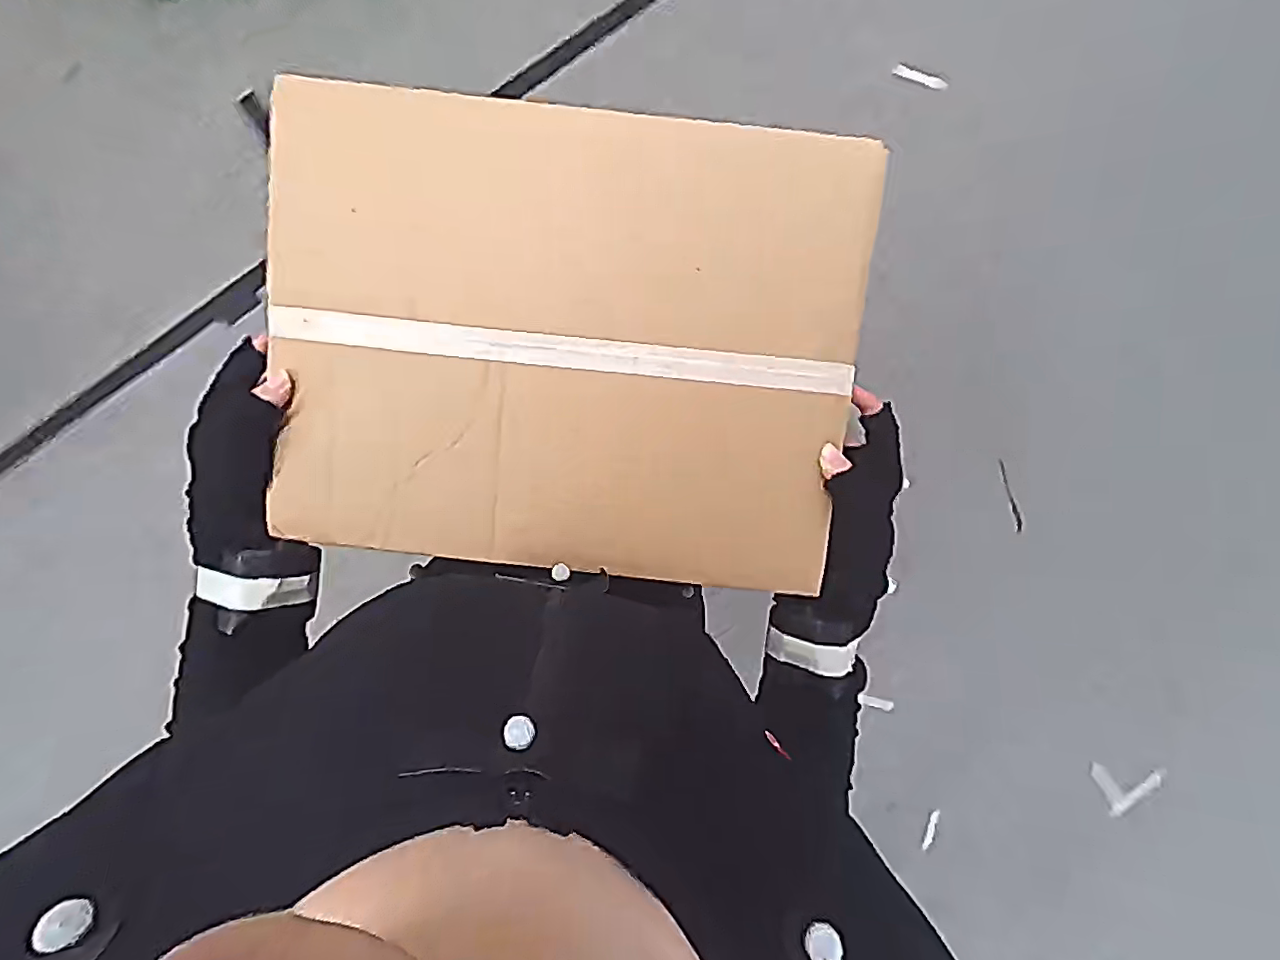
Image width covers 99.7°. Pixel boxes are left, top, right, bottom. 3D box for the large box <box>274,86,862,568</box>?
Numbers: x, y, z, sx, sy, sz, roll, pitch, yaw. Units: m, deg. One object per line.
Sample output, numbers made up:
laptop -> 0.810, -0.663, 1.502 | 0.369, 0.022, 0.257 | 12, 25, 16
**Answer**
large box -> -0.055, -0.121, 0.529 | 0.408, 0.320, 0.320 | 5, 98, 0
